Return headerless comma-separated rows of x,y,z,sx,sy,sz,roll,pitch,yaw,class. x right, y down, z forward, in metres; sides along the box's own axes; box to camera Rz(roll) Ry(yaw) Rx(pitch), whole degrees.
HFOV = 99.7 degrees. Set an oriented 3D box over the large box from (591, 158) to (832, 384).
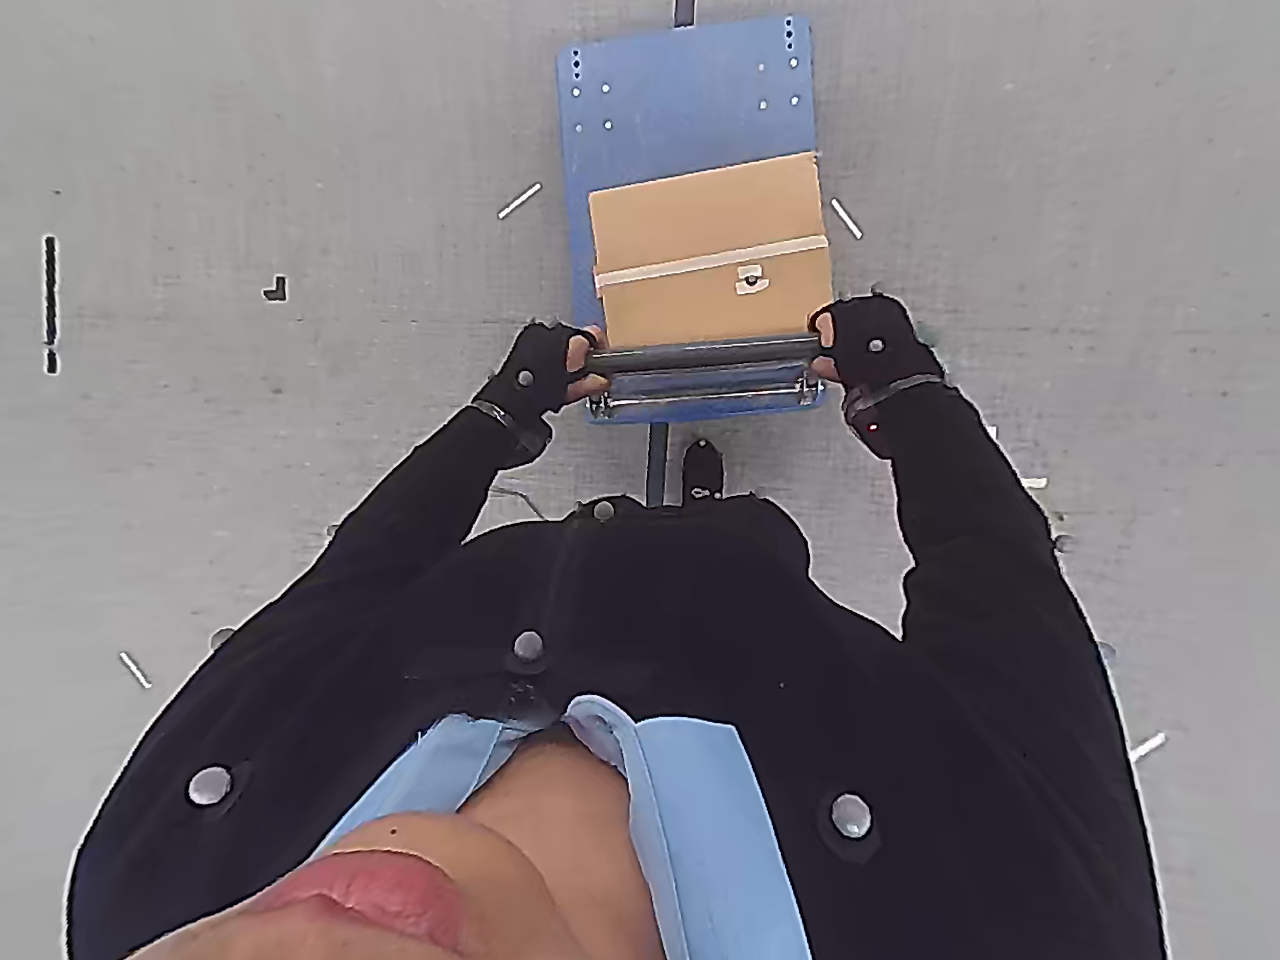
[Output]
0.137,-0.398,1.122,0.408,0.320,0.320,-8,94,5,large box
